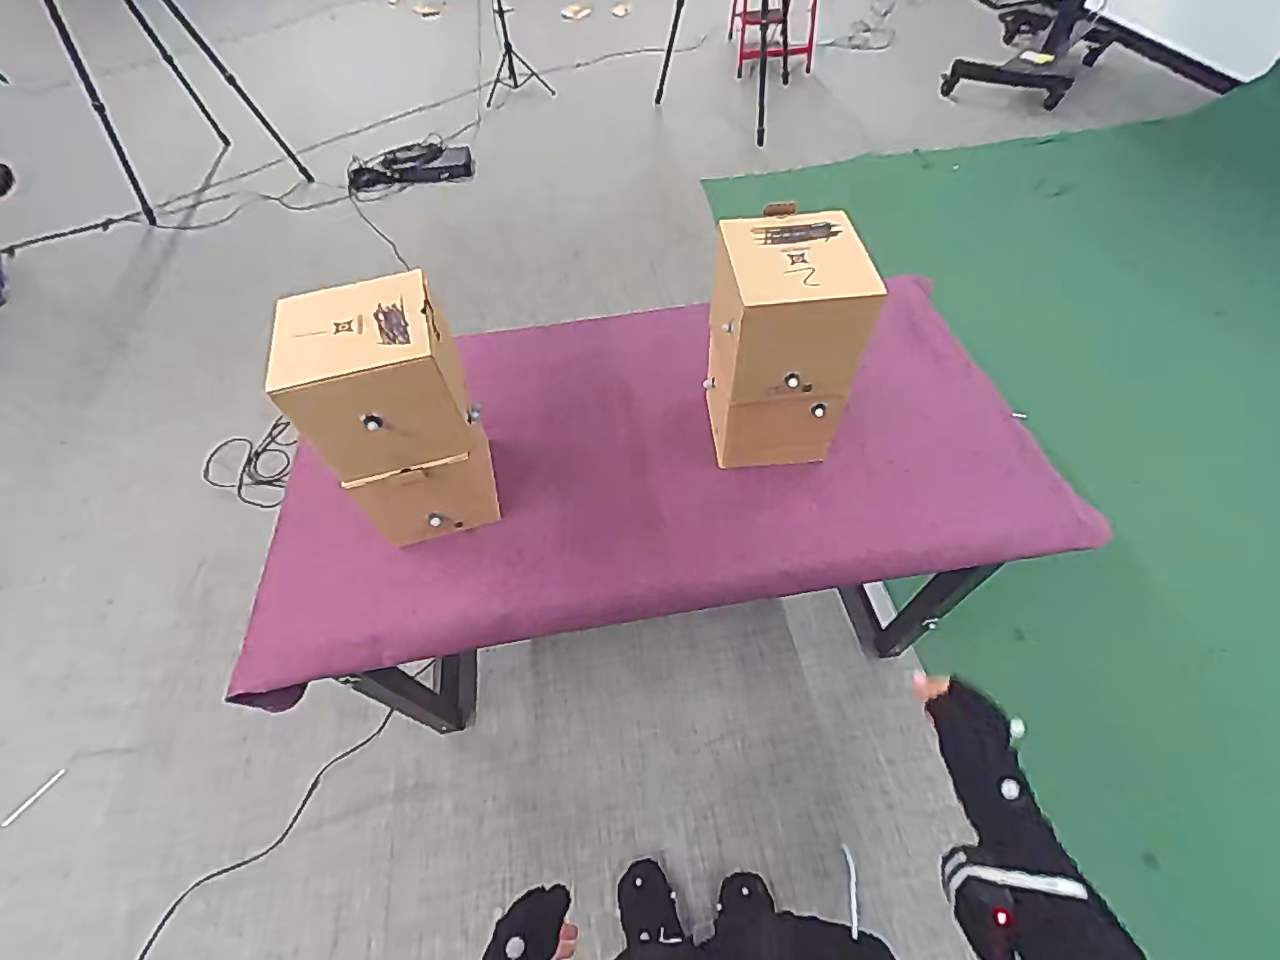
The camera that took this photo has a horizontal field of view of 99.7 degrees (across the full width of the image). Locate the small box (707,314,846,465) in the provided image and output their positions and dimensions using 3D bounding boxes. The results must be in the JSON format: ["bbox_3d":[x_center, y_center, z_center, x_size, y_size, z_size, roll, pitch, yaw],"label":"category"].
[{"bbox_3d":[0.201,-0.137,0.859,0.179,0.176,0.168,-5,55,0],"label":"small box"}]

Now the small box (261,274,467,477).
[{"bbox_3d":[-0.326,-0.127,0.683,0.179,0.176,0.168,-13,54,-5],"label":"small box"}]

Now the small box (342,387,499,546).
[{"bbox_3d":[-0.323,-0.028,0.817,0.168,0.176,0.179,-15,56,-6],"label":"small box"}]
